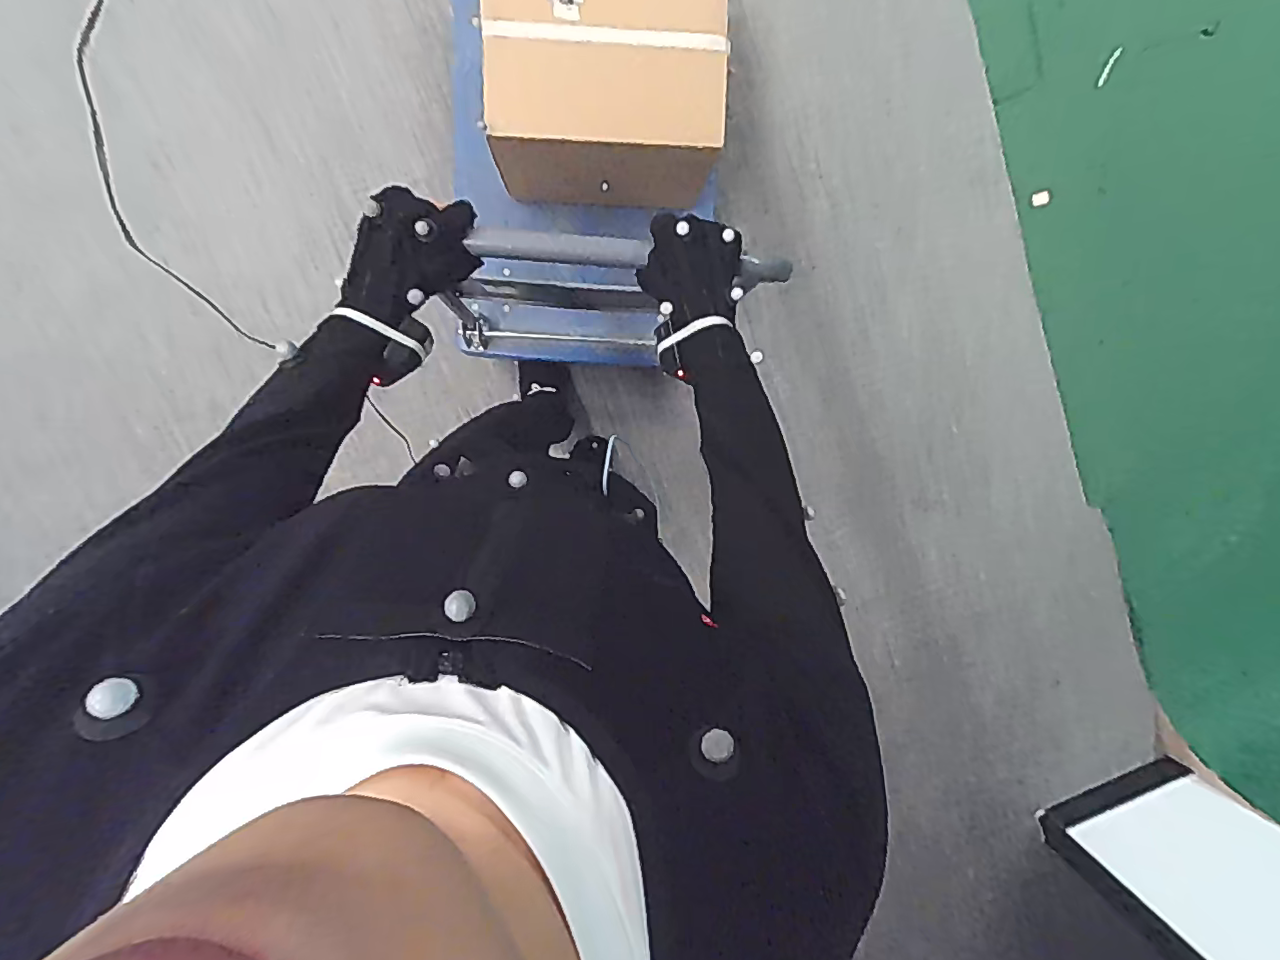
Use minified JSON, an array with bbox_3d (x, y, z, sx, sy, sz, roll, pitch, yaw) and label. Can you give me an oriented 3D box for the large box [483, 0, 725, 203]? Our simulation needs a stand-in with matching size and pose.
[{"bbox_3d":[-0.066,-0.746,1.037,0.408,0.320,0.320,0,98,-5],"label":"large box"}]
